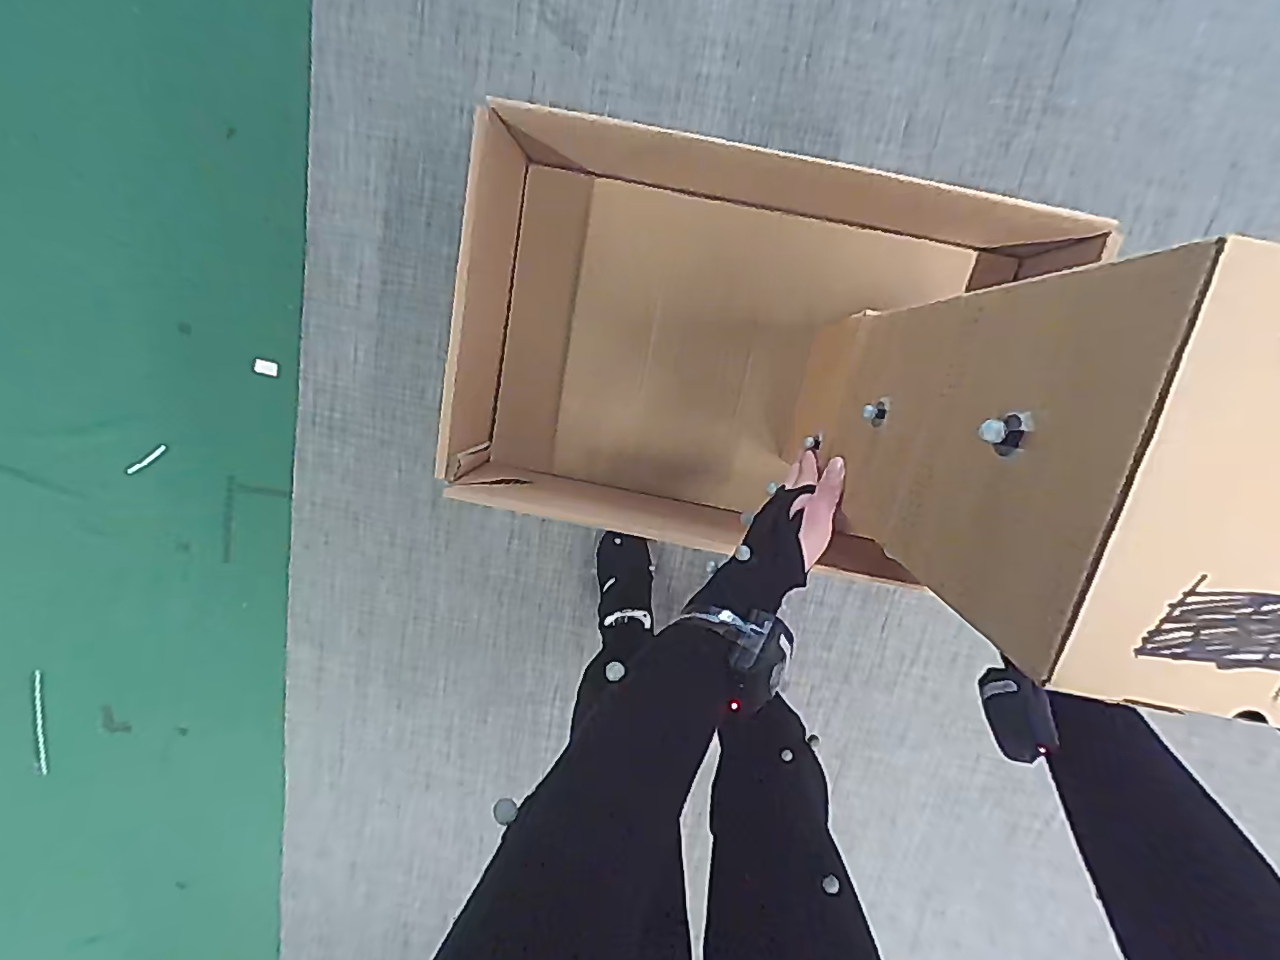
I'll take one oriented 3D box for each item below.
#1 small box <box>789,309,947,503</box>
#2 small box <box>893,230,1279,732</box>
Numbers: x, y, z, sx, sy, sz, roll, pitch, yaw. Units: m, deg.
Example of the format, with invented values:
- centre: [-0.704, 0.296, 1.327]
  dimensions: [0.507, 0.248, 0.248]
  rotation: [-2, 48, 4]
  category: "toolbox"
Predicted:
- centre: [0.275, -0.075, 0.594]
  dimensions: [0.168, 0.176, 0.179]
  rotation: [12, 102, 2]
  category: "small box"
- centre: [0.256, -0.003, 0.277]
  dimensions: [0.168, 0.176, 0.179]
  rotation: [11, 102, 0]
  category: "small box"
